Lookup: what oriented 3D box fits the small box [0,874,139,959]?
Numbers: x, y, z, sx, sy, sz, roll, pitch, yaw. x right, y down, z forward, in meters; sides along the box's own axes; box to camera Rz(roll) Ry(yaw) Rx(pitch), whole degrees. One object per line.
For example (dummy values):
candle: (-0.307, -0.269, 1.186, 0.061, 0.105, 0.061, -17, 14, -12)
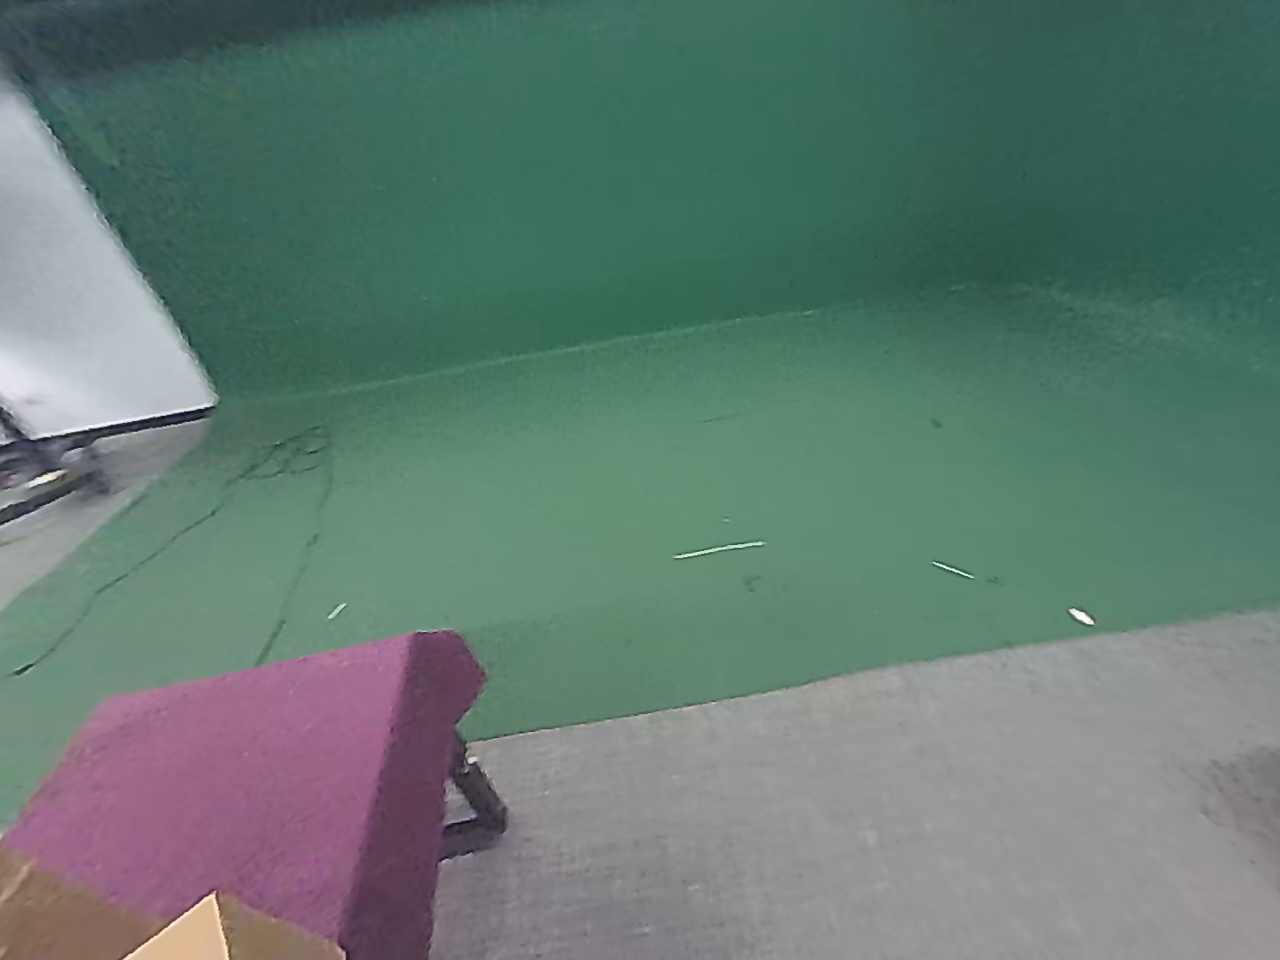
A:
small box: (-0.600, 0.474, 0.456, 0.179, 0.176, 0.168, -14, 35, -2)
